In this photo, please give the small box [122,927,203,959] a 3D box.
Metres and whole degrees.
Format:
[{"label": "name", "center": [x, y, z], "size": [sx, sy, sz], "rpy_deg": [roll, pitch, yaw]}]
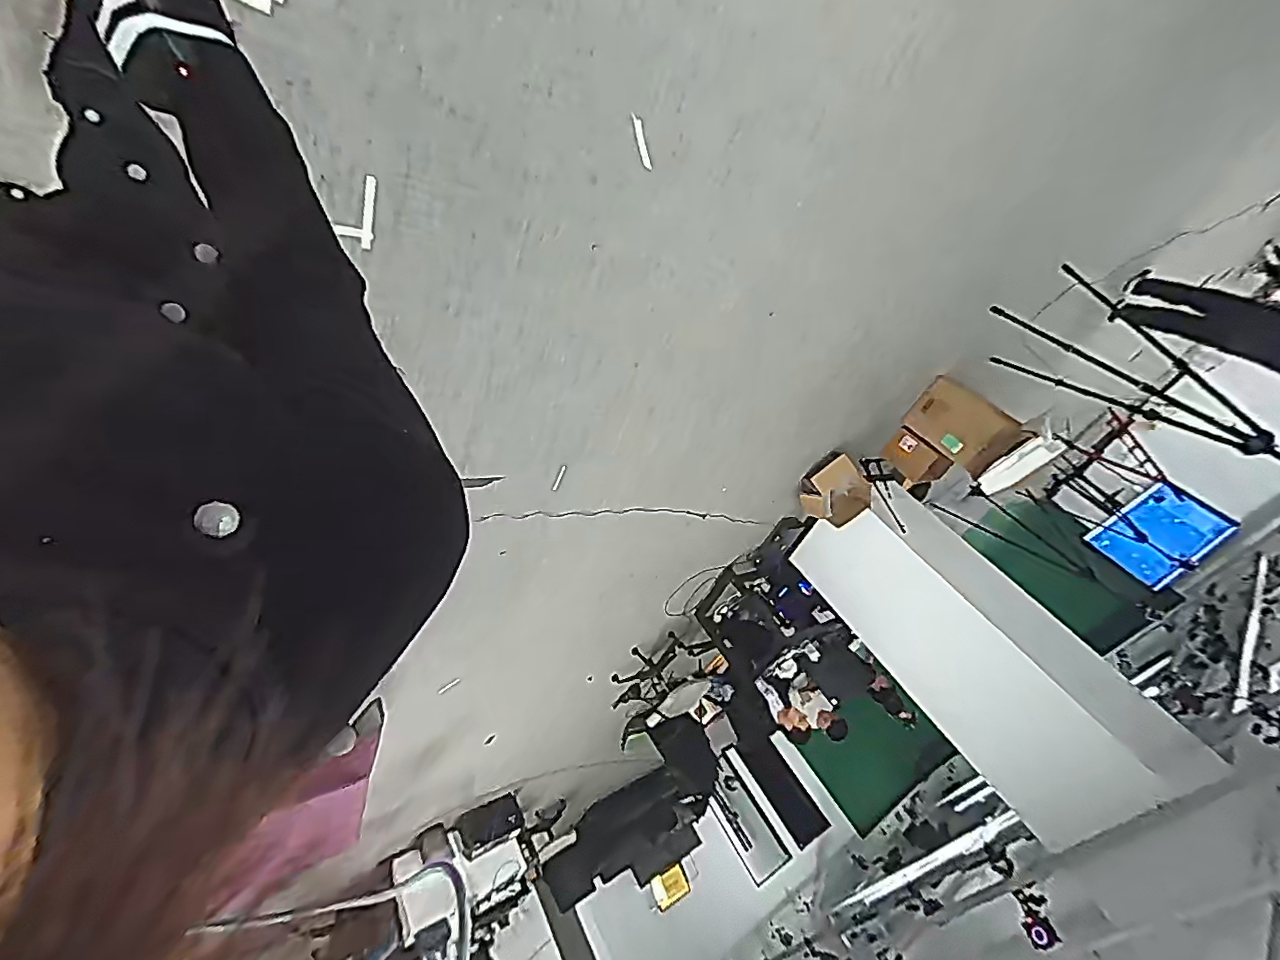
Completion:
[{"label": "small box", "center": [-1.226, 1.294, 1.377], "size": [0.179, 0.176, 0.168], "rpy_deg": [-2, 133, -41]}]
